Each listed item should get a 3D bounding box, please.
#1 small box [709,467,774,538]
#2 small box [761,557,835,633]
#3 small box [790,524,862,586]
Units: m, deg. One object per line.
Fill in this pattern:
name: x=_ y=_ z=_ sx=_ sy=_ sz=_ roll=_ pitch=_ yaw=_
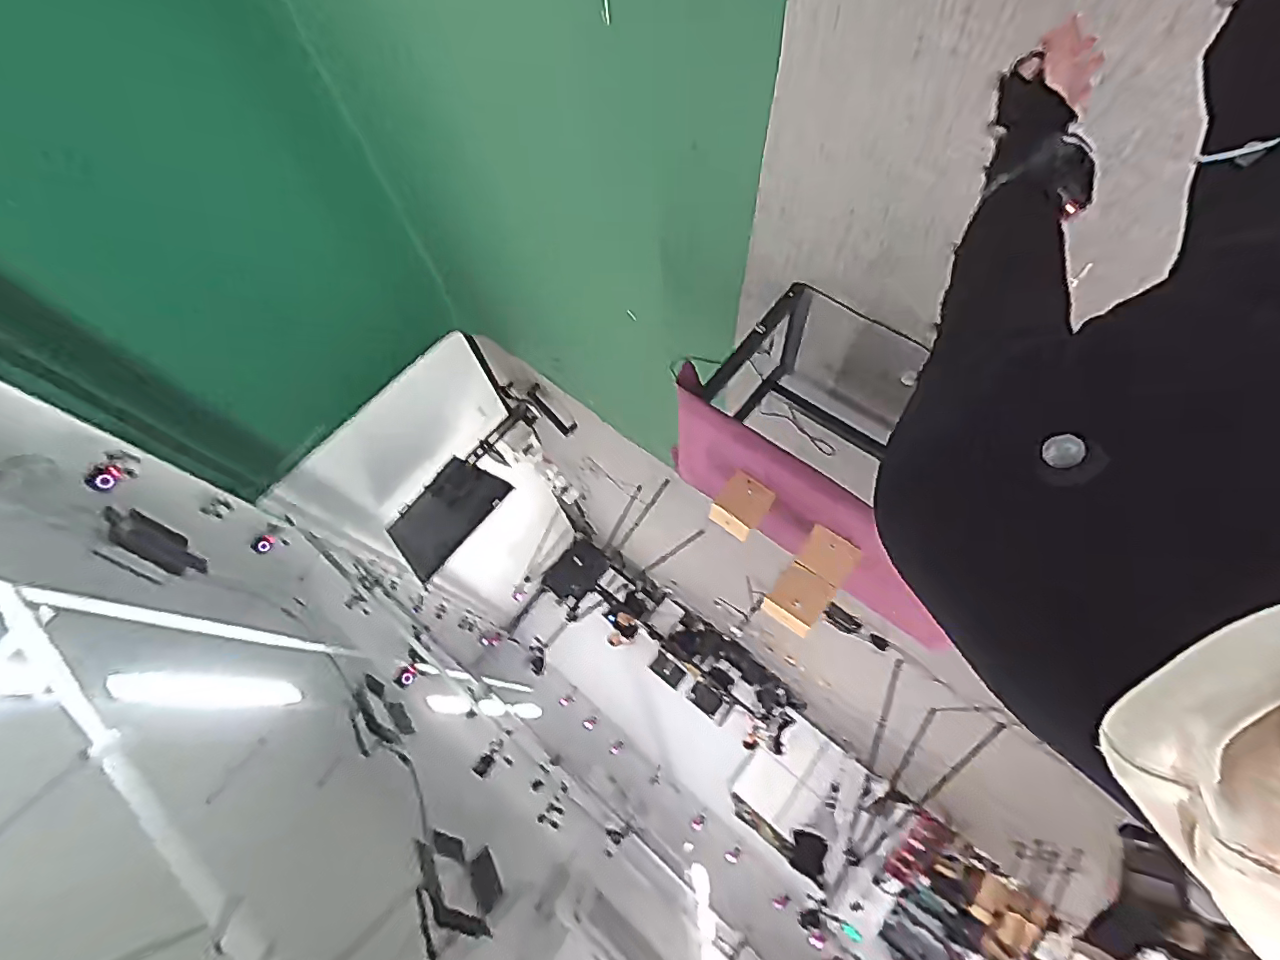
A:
small box: x=0.376 y=0.082 z=2.007 sx=0.168 sy=0.176 sz=0.179 roll=36 pitch=163 yaw=15
small box: x=0.540 y=0.393 z=1.851 sx=0.179 sy=0.176 sz=0.168 roll=34 pitch=162 yaw=21
small box: x=0.642 y=0.273 z=1.897 sx=0.179 sy=0.176 sz=0.168 roll=35 pitch=163 yaw=21
